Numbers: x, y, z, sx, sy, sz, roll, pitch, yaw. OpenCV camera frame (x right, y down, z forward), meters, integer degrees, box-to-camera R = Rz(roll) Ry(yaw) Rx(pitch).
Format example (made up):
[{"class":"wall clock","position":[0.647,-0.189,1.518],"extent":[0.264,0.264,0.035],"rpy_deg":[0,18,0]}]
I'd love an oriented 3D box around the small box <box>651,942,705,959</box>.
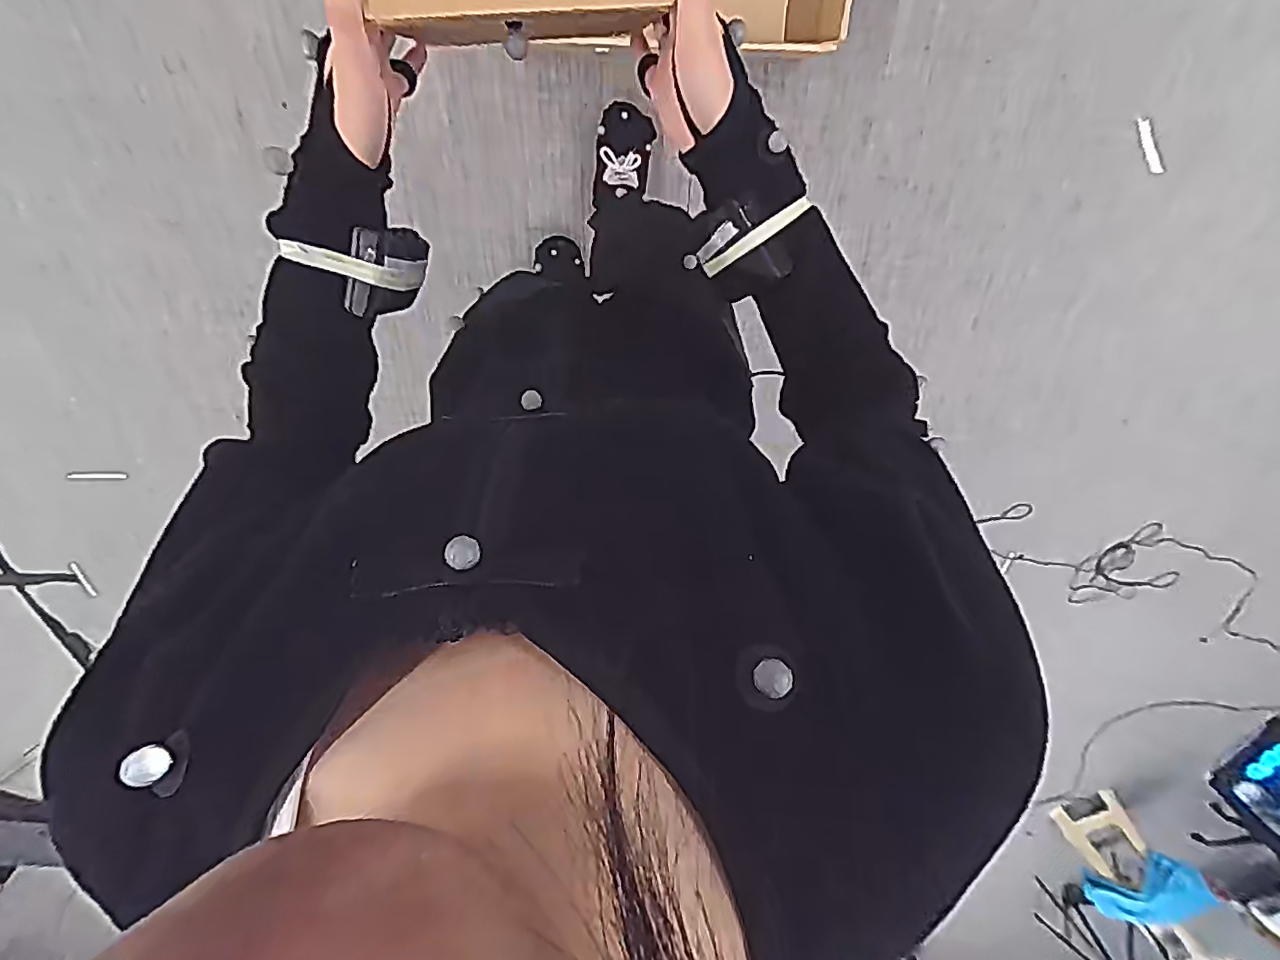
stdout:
[{"class":"small box","position":[0.129,1.656,1.775],"extent":[0.168,0.176,0.179],"rpy_deg":[4,120,-9]}]
